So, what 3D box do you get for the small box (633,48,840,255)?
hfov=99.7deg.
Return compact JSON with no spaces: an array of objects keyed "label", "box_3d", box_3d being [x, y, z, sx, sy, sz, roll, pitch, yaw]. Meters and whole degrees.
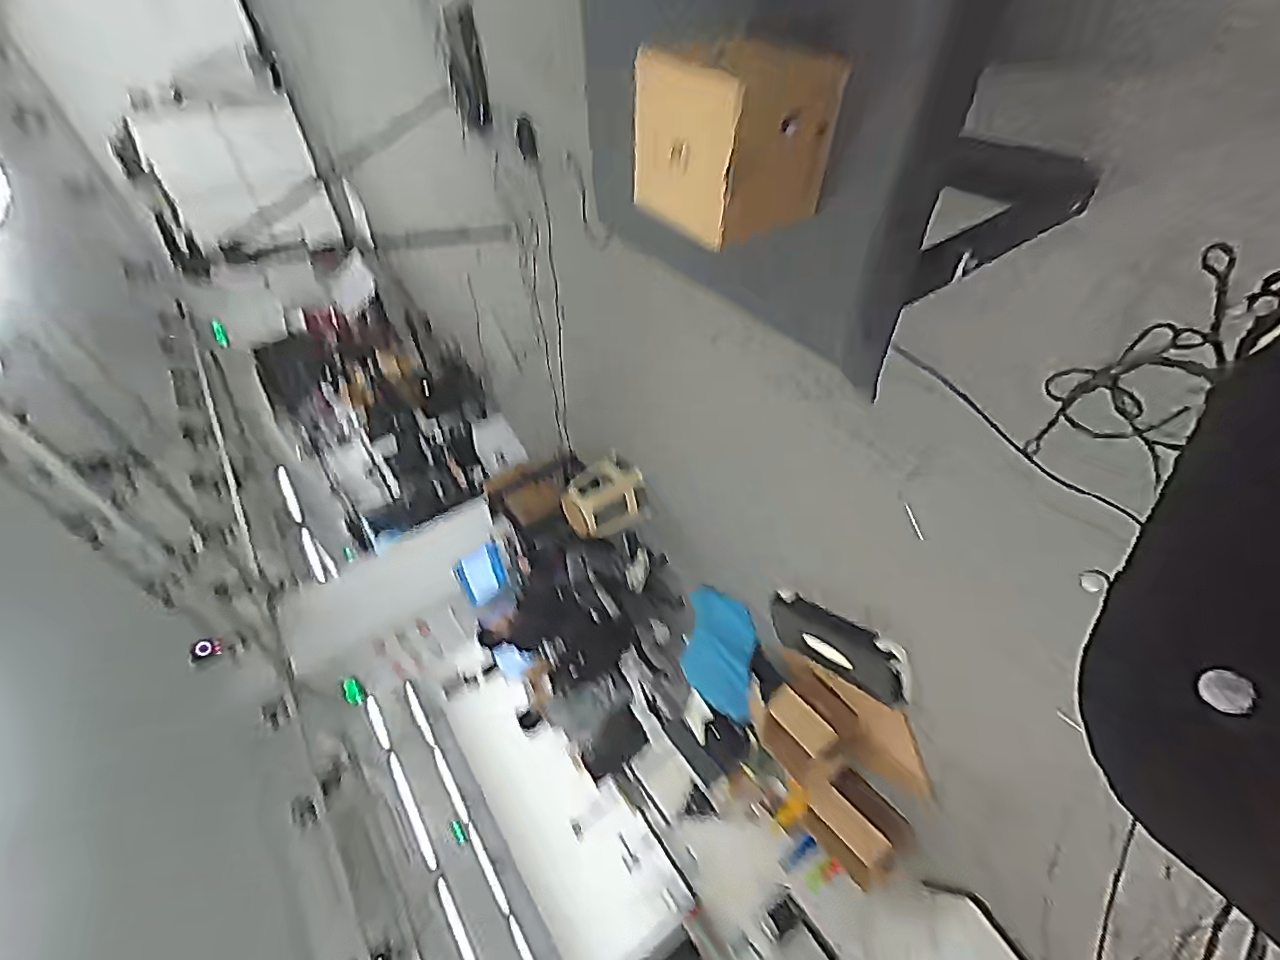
[{"label":"small box","box_3d":[0.109,-0.406,0.659,0.179,0.176,0.168,46,152,33]}]
